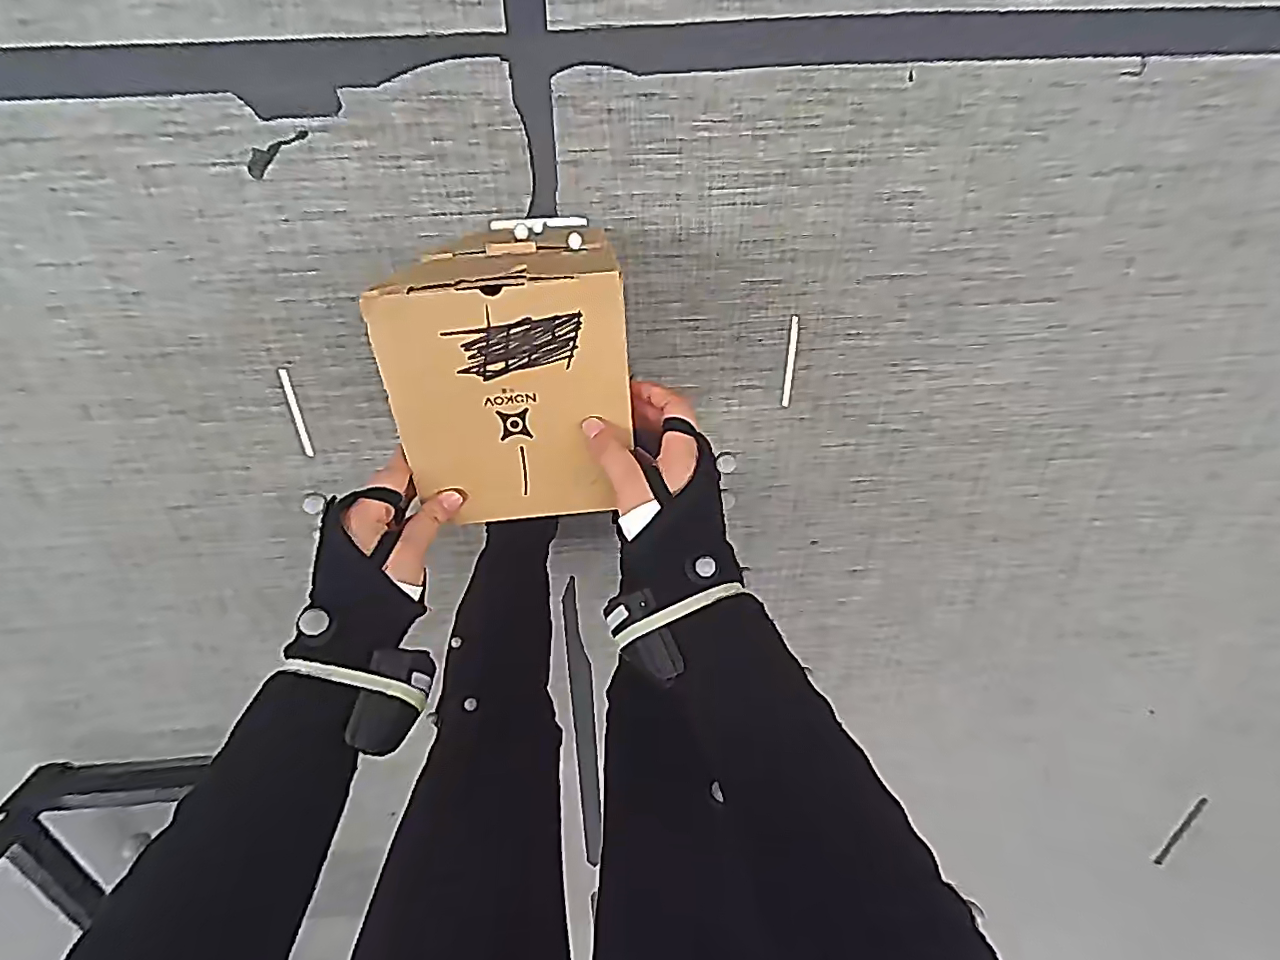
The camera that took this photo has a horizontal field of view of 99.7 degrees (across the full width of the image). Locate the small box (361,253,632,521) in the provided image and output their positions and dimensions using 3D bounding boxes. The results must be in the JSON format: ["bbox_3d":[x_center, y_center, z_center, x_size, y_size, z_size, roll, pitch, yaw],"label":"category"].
[{"bbox_3d":[-0.100,-0.089,0.454,0.168,0.176,0.179,-6,119,-2],"label":"small box"}]

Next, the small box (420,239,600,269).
[{"bbox_3d":[-0.122,-0.168,0.599,0.168,0.176,0.179,-5,117,-2],"label":"small box"}]
